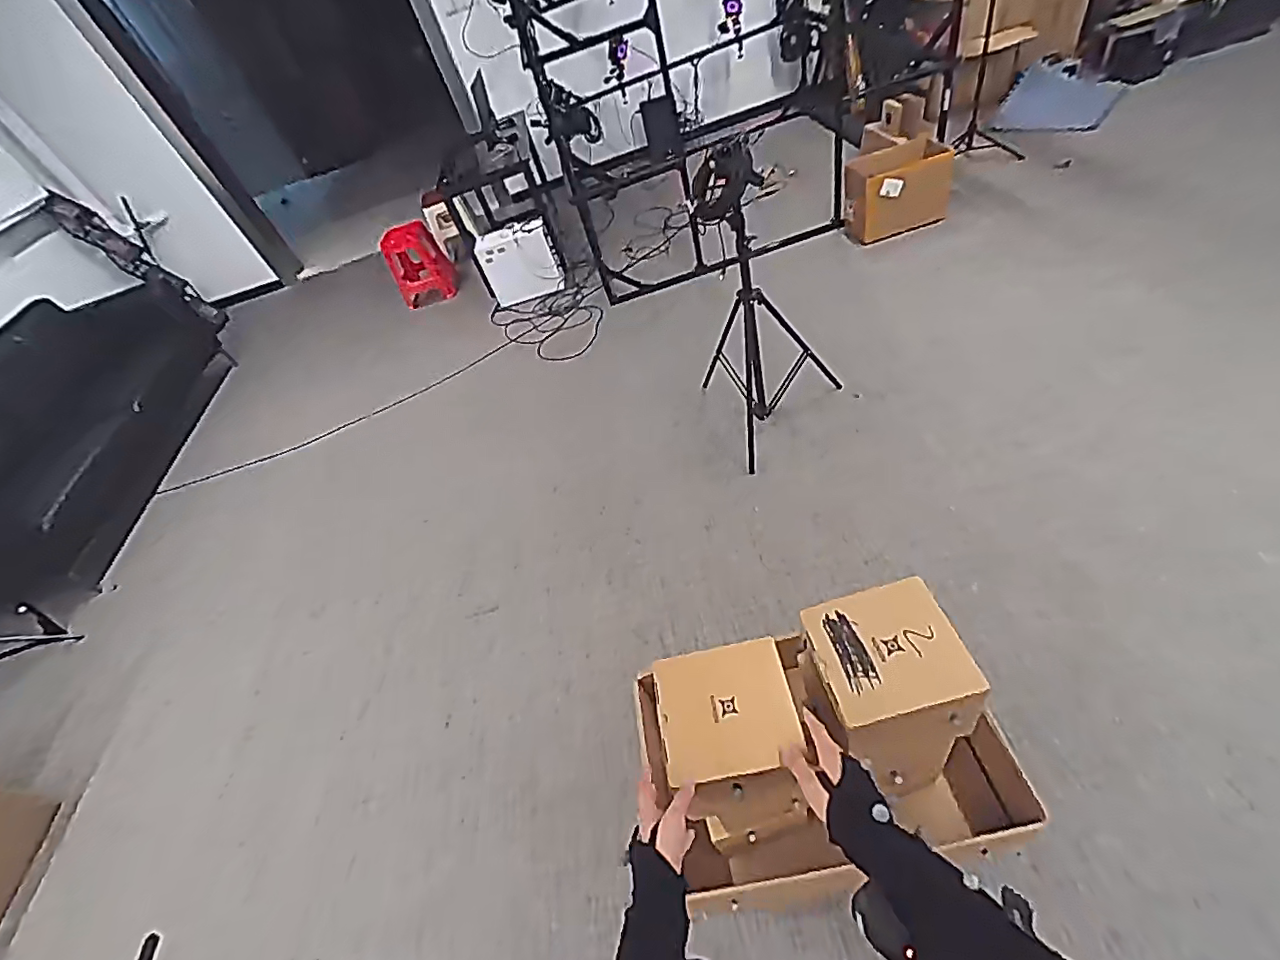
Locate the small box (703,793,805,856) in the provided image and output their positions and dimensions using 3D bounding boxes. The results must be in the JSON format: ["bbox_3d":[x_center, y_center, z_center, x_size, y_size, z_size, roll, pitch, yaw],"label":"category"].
[{"bbox_3d":[0.192,0.559,0.998,0.168,0.176,0.179,-20,45,2],"label":"small box"}]

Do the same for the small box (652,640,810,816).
[{"bbox_3d":[0.126,0.350,0.759,0.179,0.176,0.168,-14,46,5],"label":"small box"}]
